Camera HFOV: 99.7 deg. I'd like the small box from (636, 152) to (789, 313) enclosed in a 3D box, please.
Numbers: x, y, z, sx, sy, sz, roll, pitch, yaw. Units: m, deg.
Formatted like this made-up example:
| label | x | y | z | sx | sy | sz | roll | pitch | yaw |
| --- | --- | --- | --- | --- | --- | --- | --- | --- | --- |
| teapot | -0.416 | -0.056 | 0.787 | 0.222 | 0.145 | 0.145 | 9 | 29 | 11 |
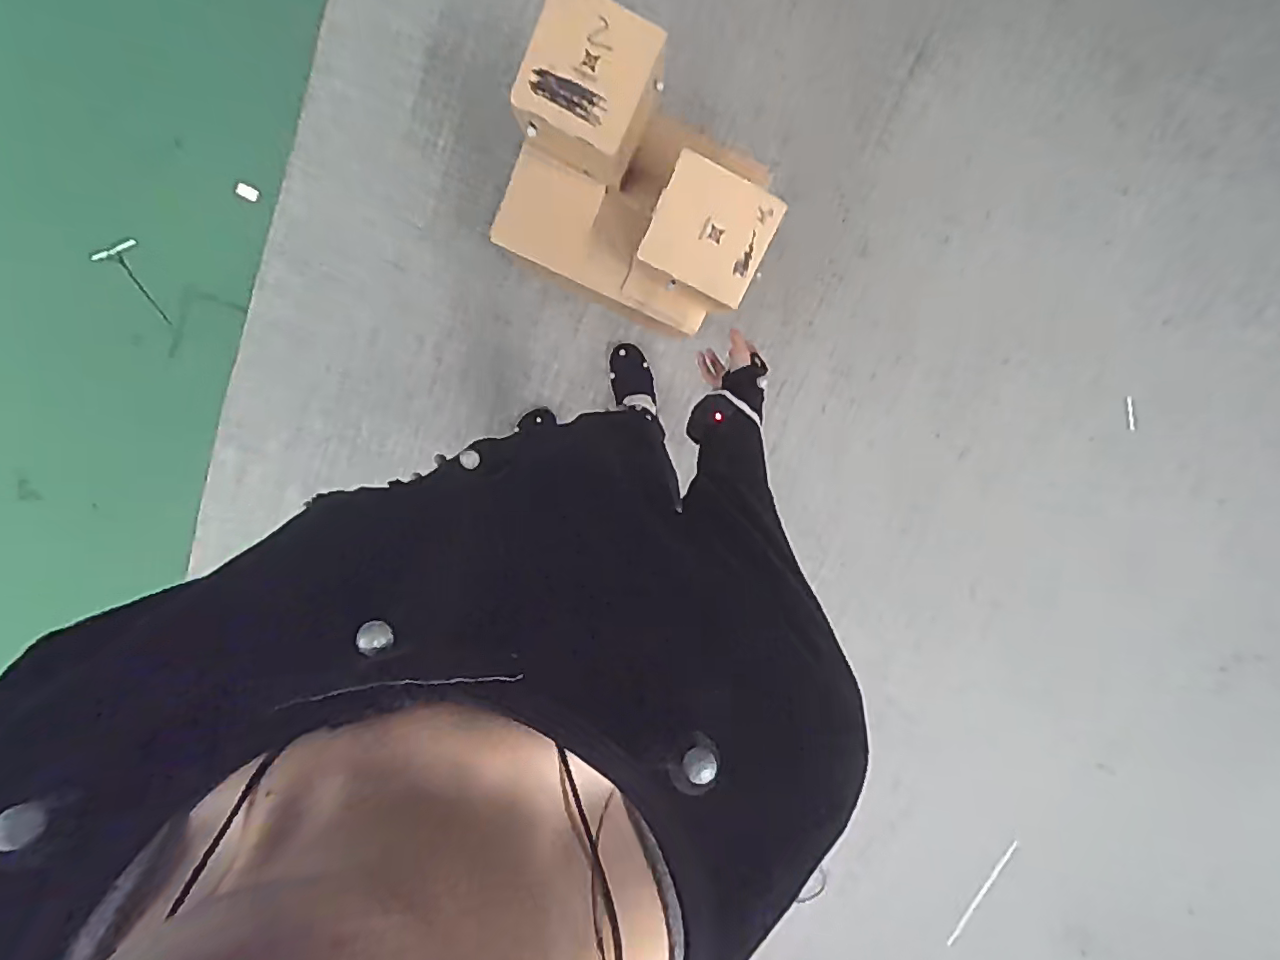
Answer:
| label | x | y | z | sx | sy | sz | roll | pitch | yaw |
| --- | --- | --- | --- | --- | --- | --- | --- | --- | --- |
| small box | 0.105 | -0.380 | 0.872 | 0.179 | 0.176 | 0.168 | 26 | 103 | -6 |
